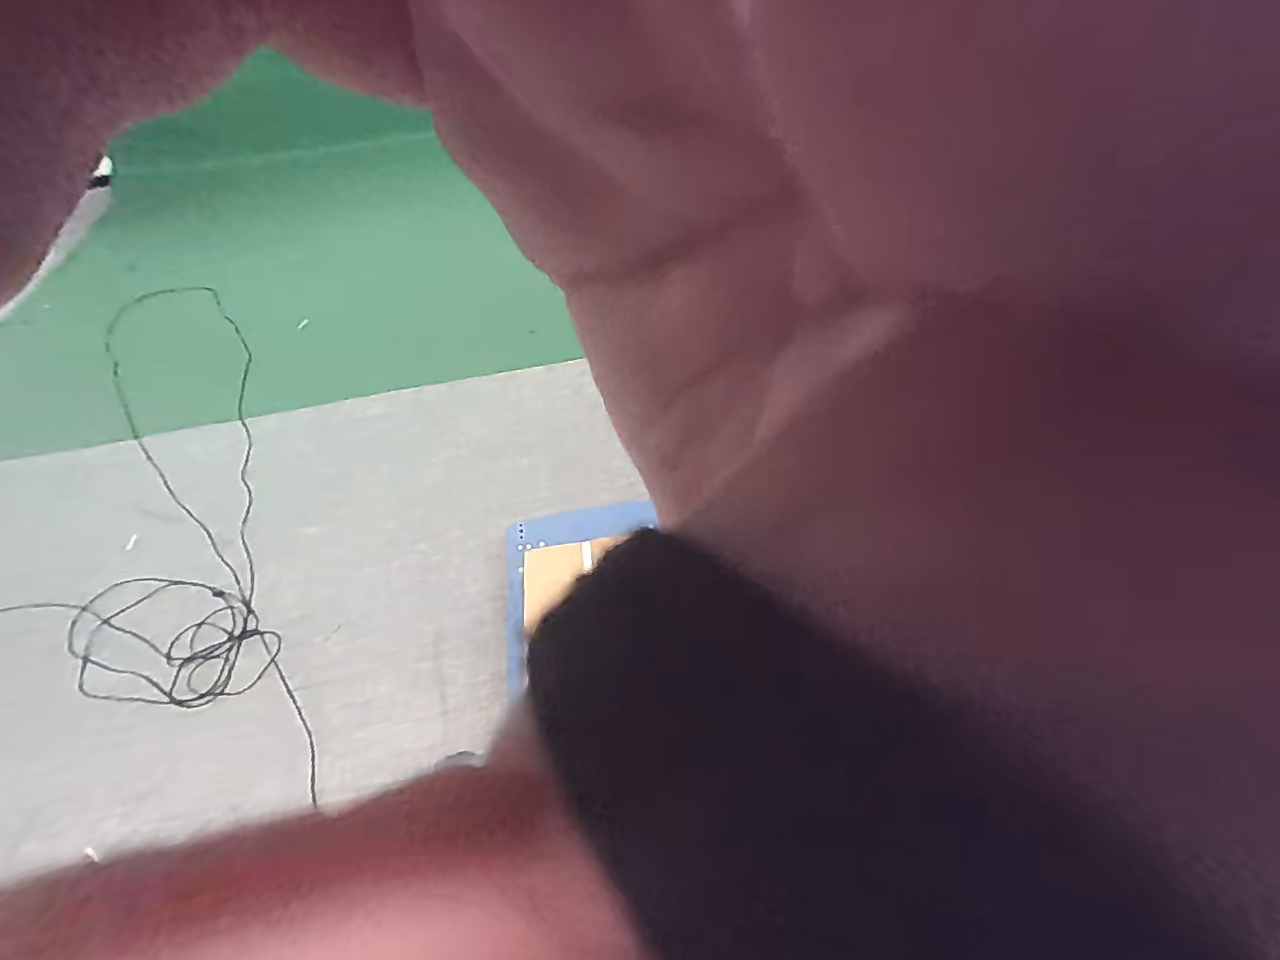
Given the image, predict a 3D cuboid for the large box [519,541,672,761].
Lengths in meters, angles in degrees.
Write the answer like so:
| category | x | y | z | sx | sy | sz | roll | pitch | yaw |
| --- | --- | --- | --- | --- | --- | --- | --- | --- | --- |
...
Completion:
| category | x | y | z | sx | sy | sz | roll | pitch | yaw |
| --- | --- | --- | --- | --- | --- | --- | --- | --- | --- |
| large box | -0.107 | 0.418 | 1.329 | 0.320 | 0.320 | 0.408 | -7 | 50 | -3 |
